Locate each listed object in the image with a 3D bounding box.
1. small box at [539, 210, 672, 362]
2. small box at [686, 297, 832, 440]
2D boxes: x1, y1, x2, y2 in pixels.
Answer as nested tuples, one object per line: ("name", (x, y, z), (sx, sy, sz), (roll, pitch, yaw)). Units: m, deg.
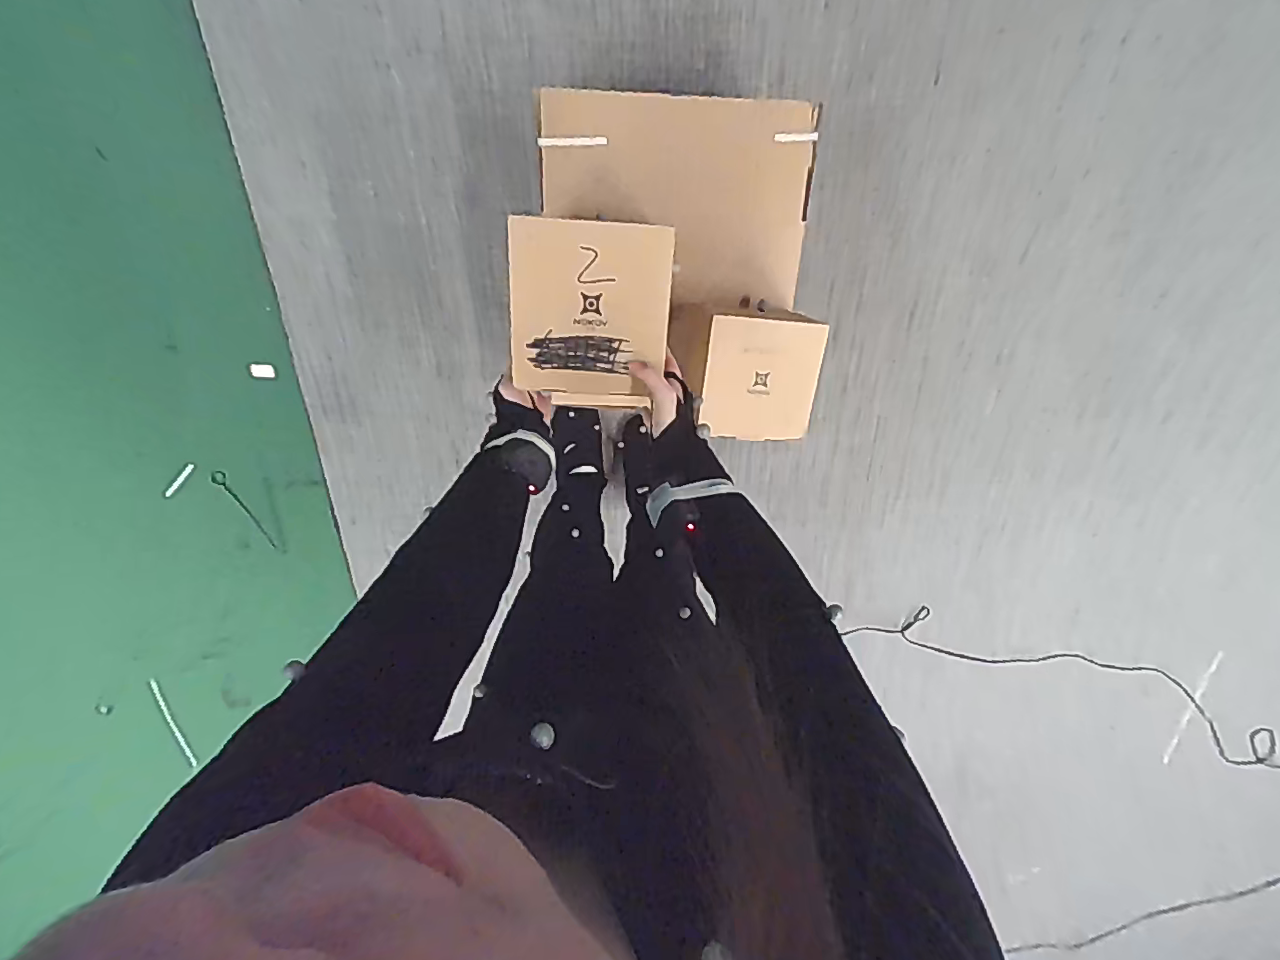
("small box", (-0.051, -0.280, 0.780), (0.168, 0.176, 0.179), (4, 113, -3))
("small box", (0.169, -0.177, 0.833), (0.168, 0.176, 0.179), (4, 113, -5))
